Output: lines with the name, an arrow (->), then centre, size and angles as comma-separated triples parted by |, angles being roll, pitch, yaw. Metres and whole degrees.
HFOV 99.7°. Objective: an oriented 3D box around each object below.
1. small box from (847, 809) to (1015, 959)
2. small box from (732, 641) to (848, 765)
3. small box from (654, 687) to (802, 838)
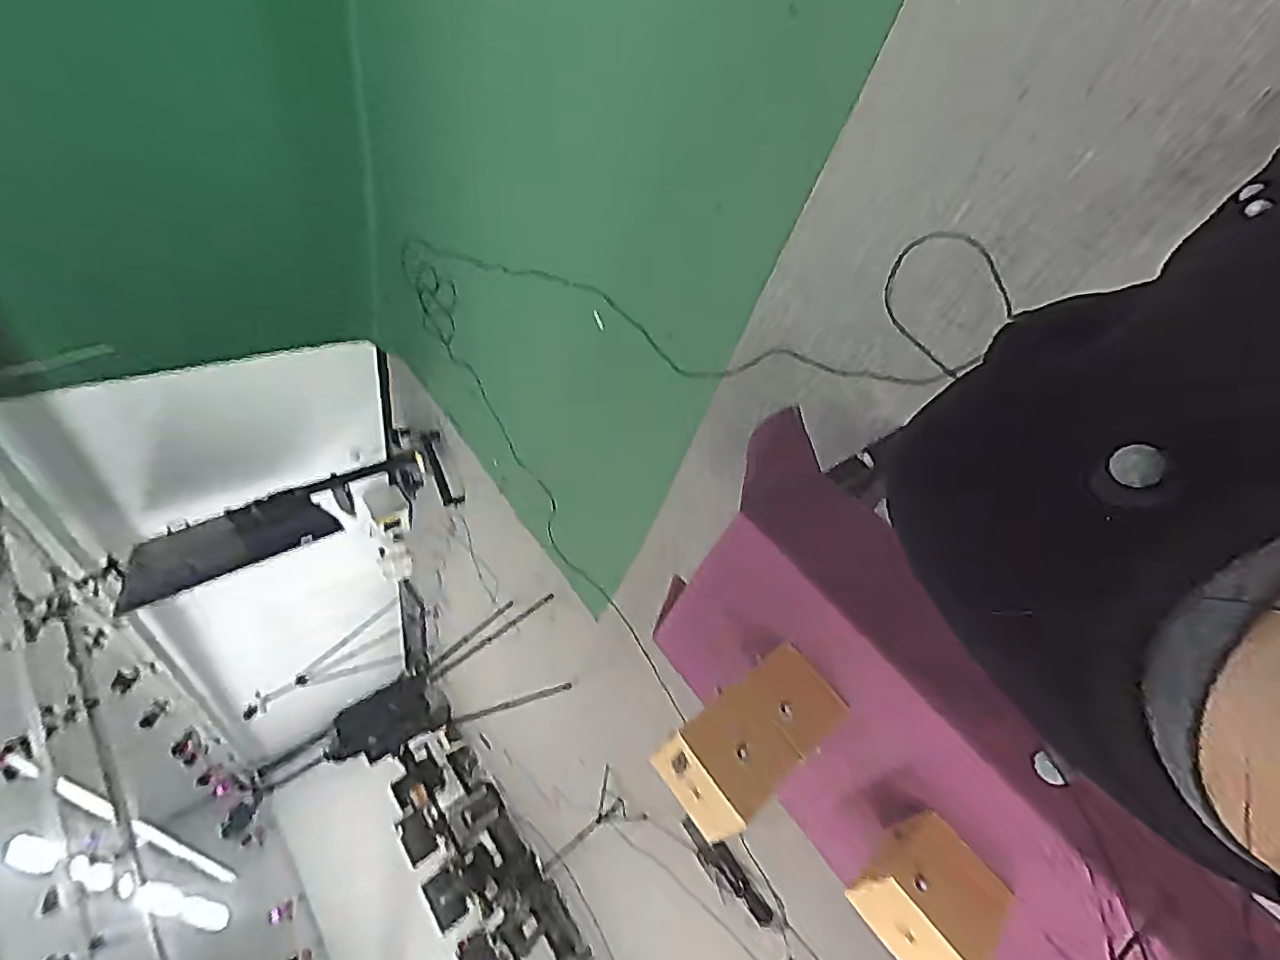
small box -> 0.518, 0.737, 0.964 | 0.179, 0.176, 0.168 | 46, 140, 26
small box -> 0.284, 0.464, 1.101 | 0.179, 0.176, 0.168 | 49, 140, 22
small box -> 0.161, 0.514, 1.005 | 0.179, 0.176, 0.168 | 48, 140, 21
